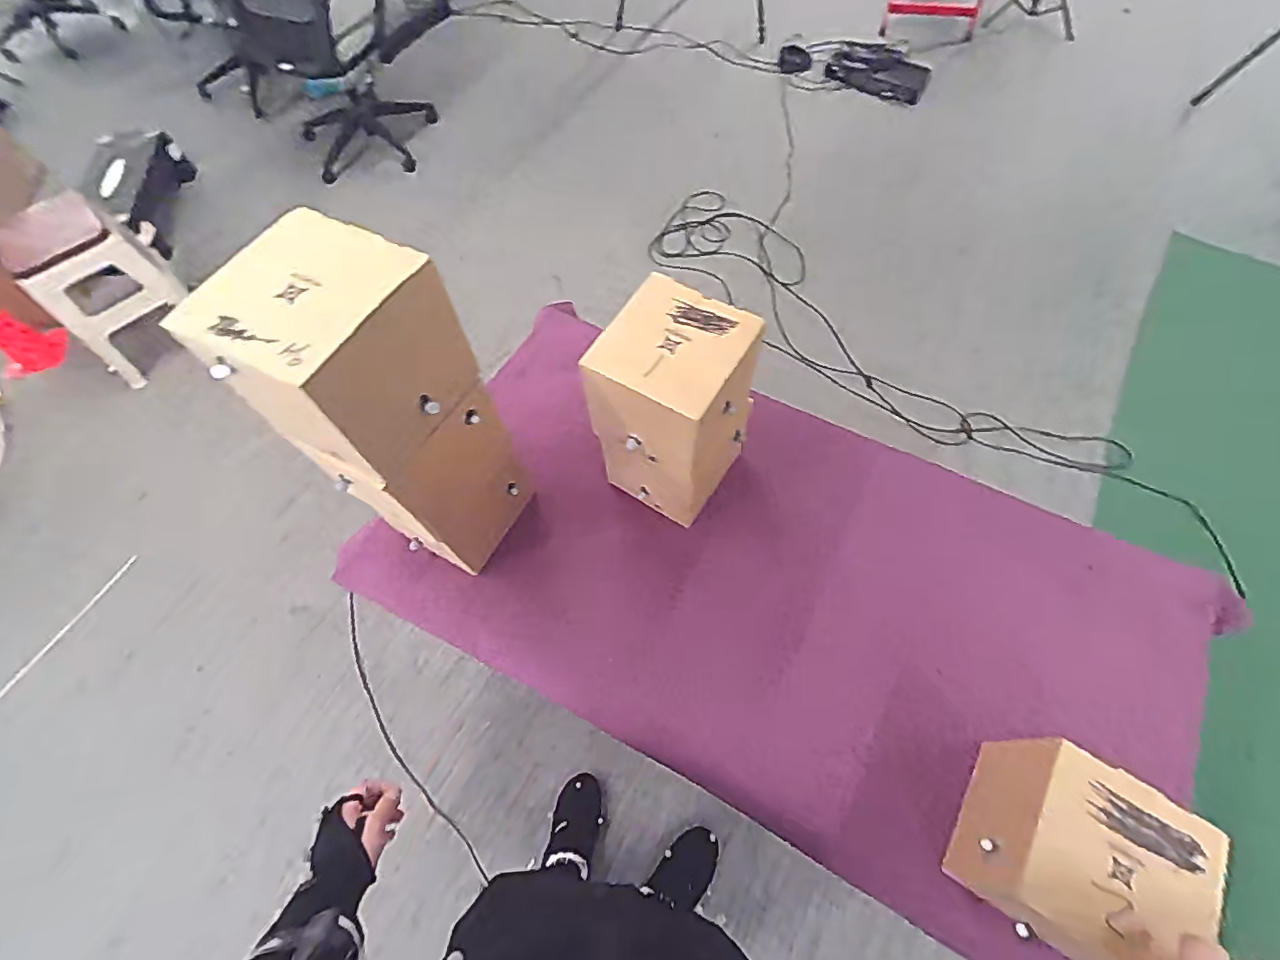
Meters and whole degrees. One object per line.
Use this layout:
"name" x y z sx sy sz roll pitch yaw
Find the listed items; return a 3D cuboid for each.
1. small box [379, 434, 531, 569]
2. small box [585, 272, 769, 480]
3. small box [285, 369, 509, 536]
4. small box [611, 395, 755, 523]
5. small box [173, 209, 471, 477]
"small box" -0.290 0.011 0.850 0.168 0.176 0.179 26 67 15
"small box" 0.048 -0.133 0.725 0.168 0.176 0.179 29 69 16
"small box" -0.294 -0.055 0.702 0.168 0.176 0.179 27 66 15
"small box" 0.061 -0.062 0.873 0.168 0.176 0.179 31 69 16
"small box" -0.298 -0.135 0.559 0.168 0.176 0.179 24 65 15
